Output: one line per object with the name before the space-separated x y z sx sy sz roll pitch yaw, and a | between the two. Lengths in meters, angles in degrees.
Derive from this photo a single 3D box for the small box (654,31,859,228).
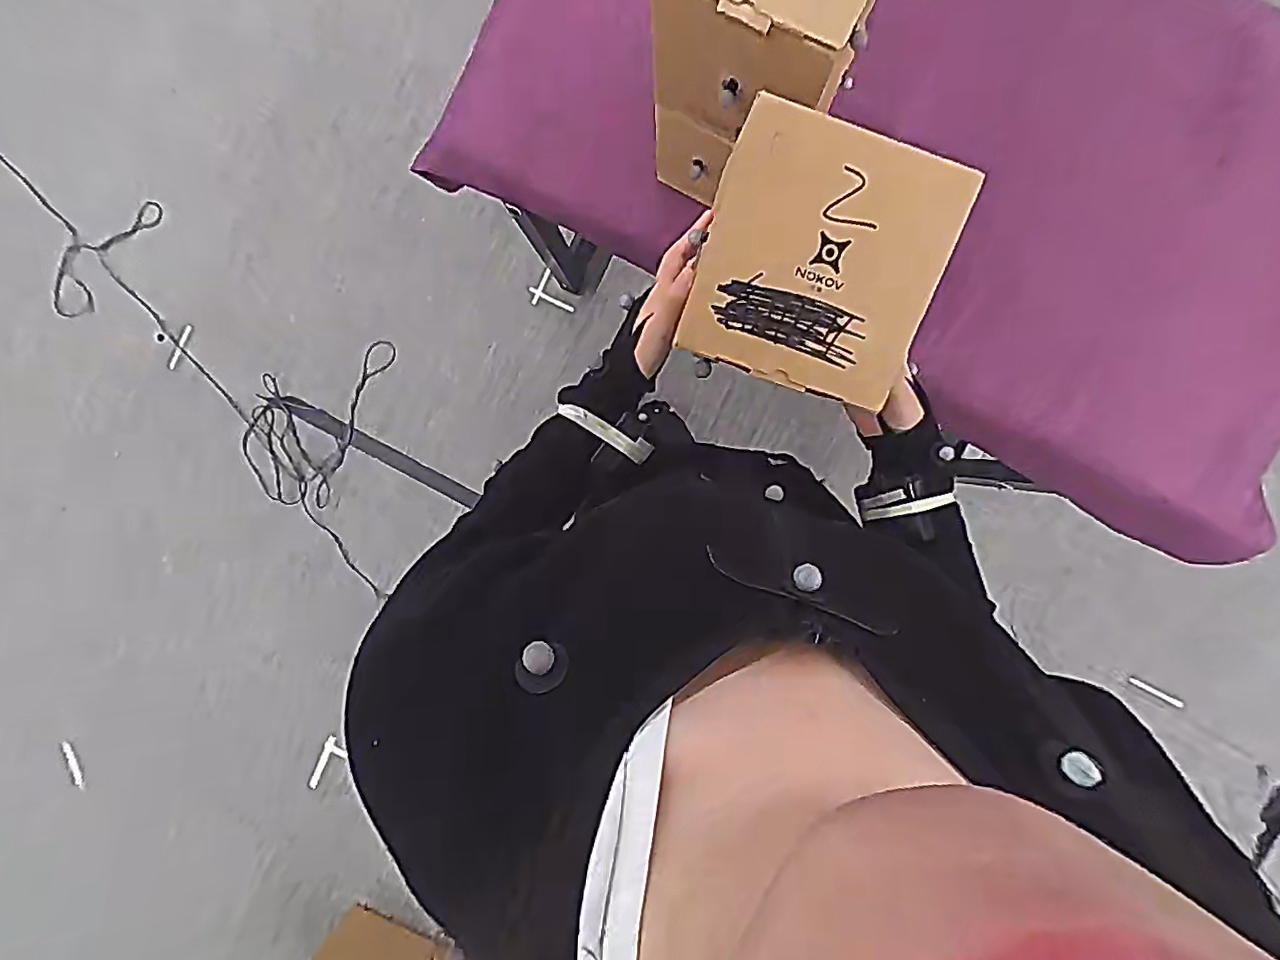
small box | 0.130 -0.449 0.667 0.168 0.176 0.179 28 93 1

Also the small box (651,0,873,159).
small box | 0.123 -0.446 0.503 0.168 0.176 0.179 27 94 1
